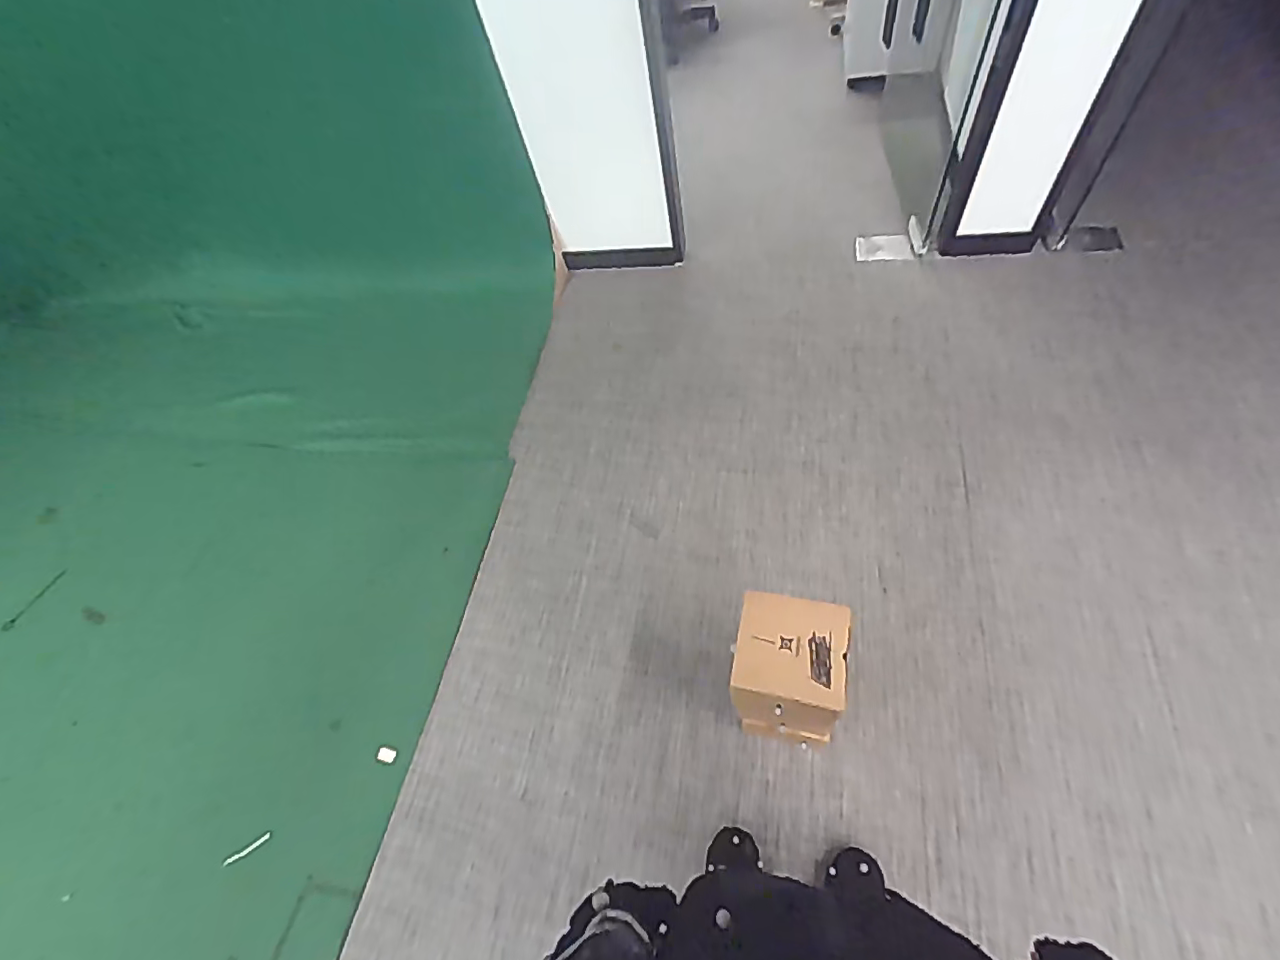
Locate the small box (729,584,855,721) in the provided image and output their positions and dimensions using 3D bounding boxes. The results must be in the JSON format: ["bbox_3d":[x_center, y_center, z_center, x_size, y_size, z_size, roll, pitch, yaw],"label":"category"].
[{"bbox_3d":[0.261,0.305,0.941,0.179,0.176,0.168,10,60,18],"label":"small box"}]

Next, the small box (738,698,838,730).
[{"bbox_3d":[0.298,0.390,1.080,0.179,0.176,0.168,8,61,16],"label":"small box"}]
